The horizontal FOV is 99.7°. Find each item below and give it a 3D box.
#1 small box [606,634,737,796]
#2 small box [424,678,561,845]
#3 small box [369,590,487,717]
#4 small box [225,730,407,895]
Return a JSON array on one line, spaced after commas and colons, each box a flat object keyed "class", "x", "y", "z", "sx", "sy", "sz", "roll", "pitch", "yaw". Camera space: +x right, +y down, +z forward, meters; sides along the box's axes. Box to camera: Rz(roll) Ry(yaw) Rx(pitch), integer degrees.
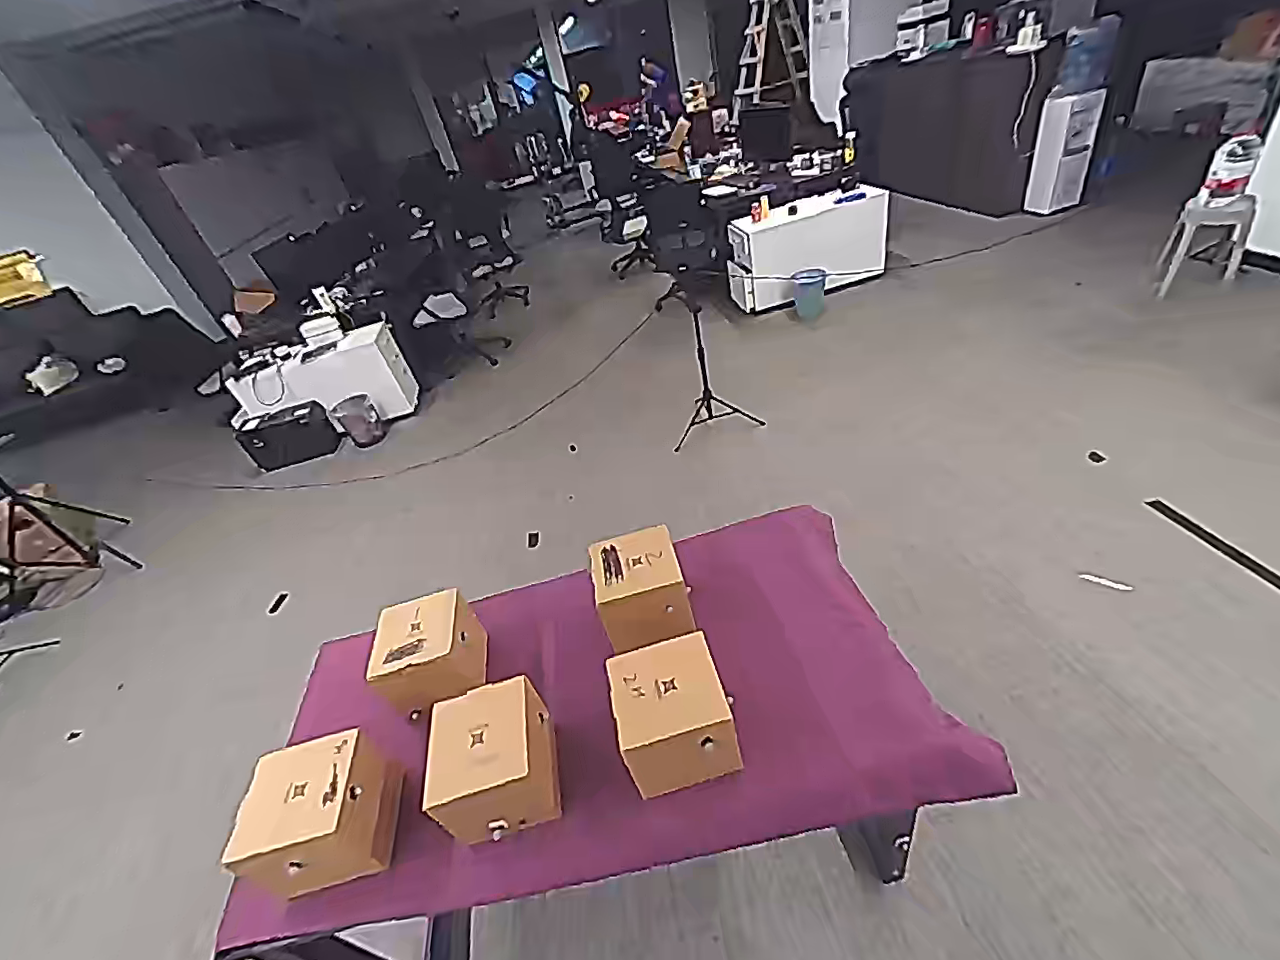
[{"class": "small box", "x": 0.056, "y": 0.394, "z": 0.909, "sx": 0.179, "sy": 0.176, "sz": 0.168, "roll": -17, "pitch": 36, "yaw": -1}, {"class": "small box", "x": -0.242, "y": 0.476, "z": 0.917, "sx": 0.168, "sy": 0.176, "sz": 0.179, "roll": -18, "pitch": 39, "yaw": -1}, {"class": "small box", "x": -0.429, "y": 0.367, "z": 1.124, "sx": 0.168, "sy": 0.176, "sz": 0.179, "roll": -17, "pitch": 37, "yaw": -2}, {"class": "small box", "x": -0.526, "y": 0.559, "z": 0.908, "sx": 0.179, "sy": 0.176, "sz": 0.168, "roll": -17, "pitch": 38, "yaw": -1}]
